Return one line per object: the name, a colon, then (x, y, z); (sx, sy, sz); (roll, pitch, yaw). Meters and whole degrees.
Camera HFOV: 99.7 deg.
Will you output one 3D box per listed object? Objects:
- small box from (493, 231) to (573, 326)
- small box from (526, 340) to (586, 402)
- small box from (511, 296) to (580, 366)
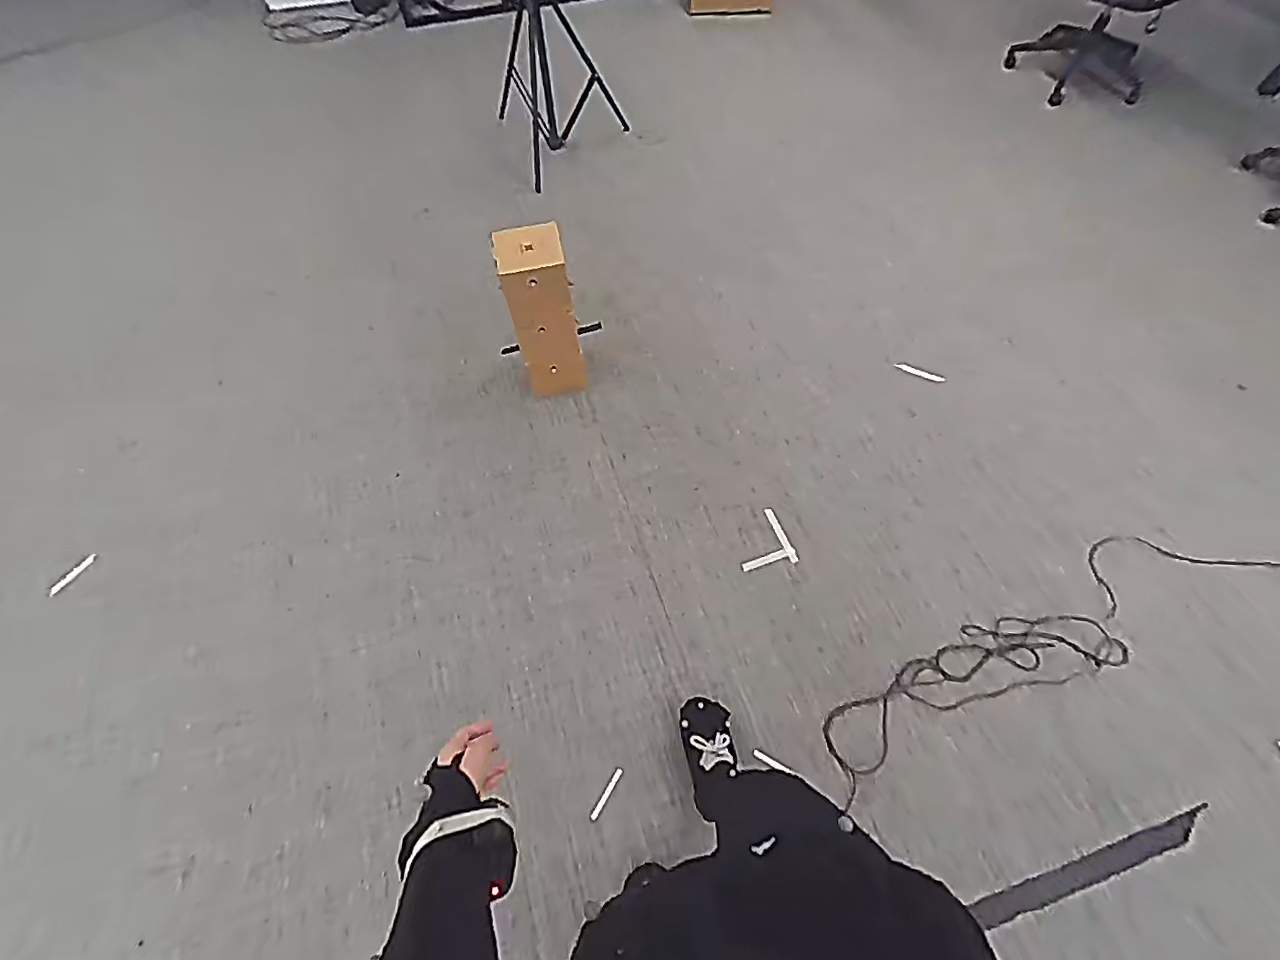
small box: (-0.289, -0.545, 1.480); (0.179, 0.176, 0.168); (-12, 63, -6)
small box: (-0.277, -0.378, 1.761); (0.179, 0.176, 0.168); (-12, 62, -5)
small box: (-0.283, -0.462, 1.619); (0.179, 0.176, 0.168); (-10, 63, -4)
